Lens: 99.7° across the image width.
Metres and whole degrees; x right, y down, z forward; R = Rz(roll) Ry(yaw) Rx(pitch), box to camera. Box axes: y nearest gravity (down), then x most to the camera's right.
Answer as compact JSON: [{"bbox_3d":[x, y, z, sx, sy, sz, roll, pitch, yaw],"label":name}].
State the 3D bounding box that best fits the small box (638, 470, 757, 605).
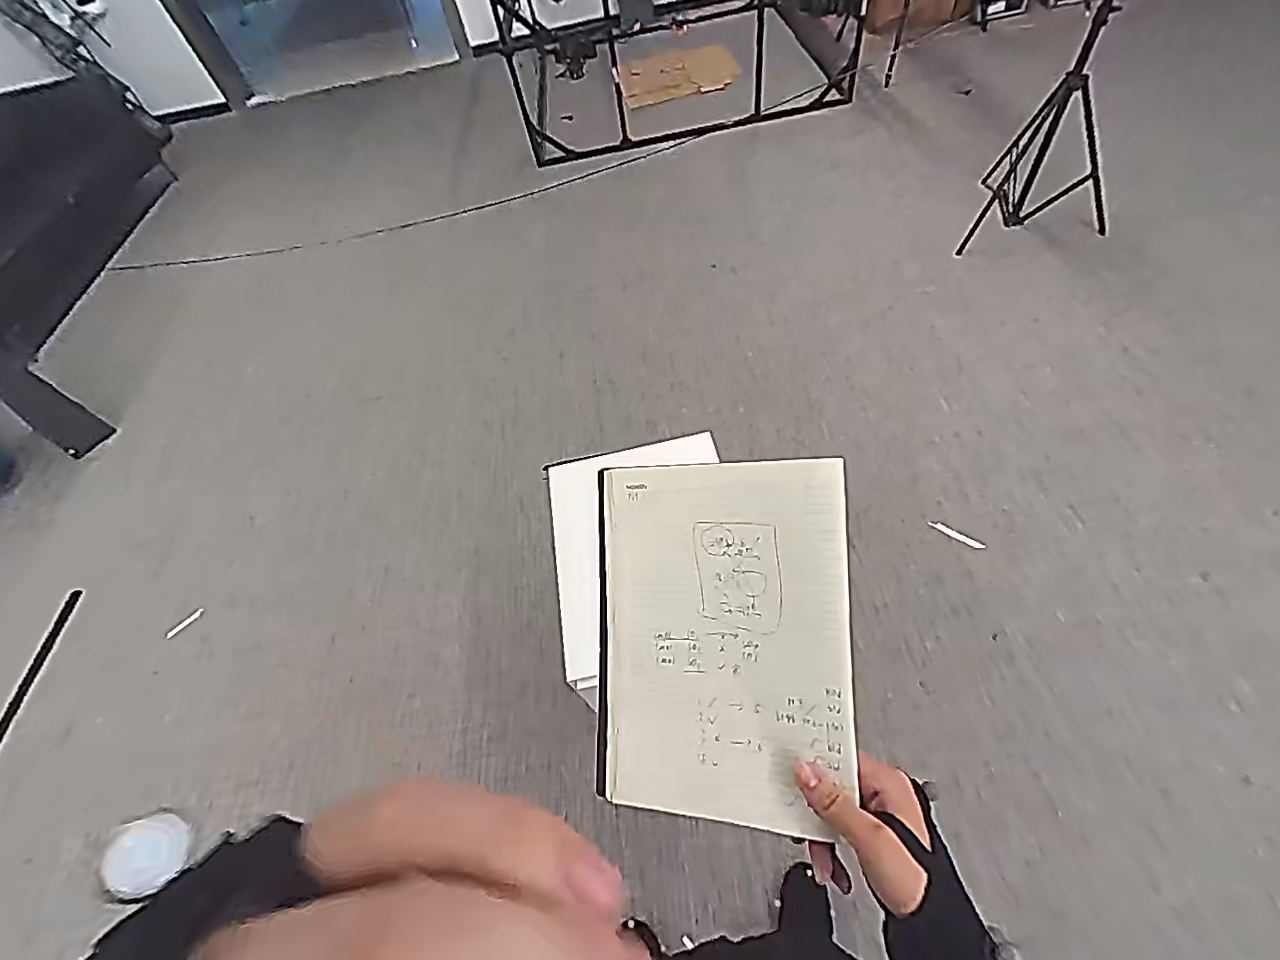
[{"bbox_3d":[0.110,0.115,1.042,0.179,0.176,0.168,-19,54,-3],"label":"small box"}]
